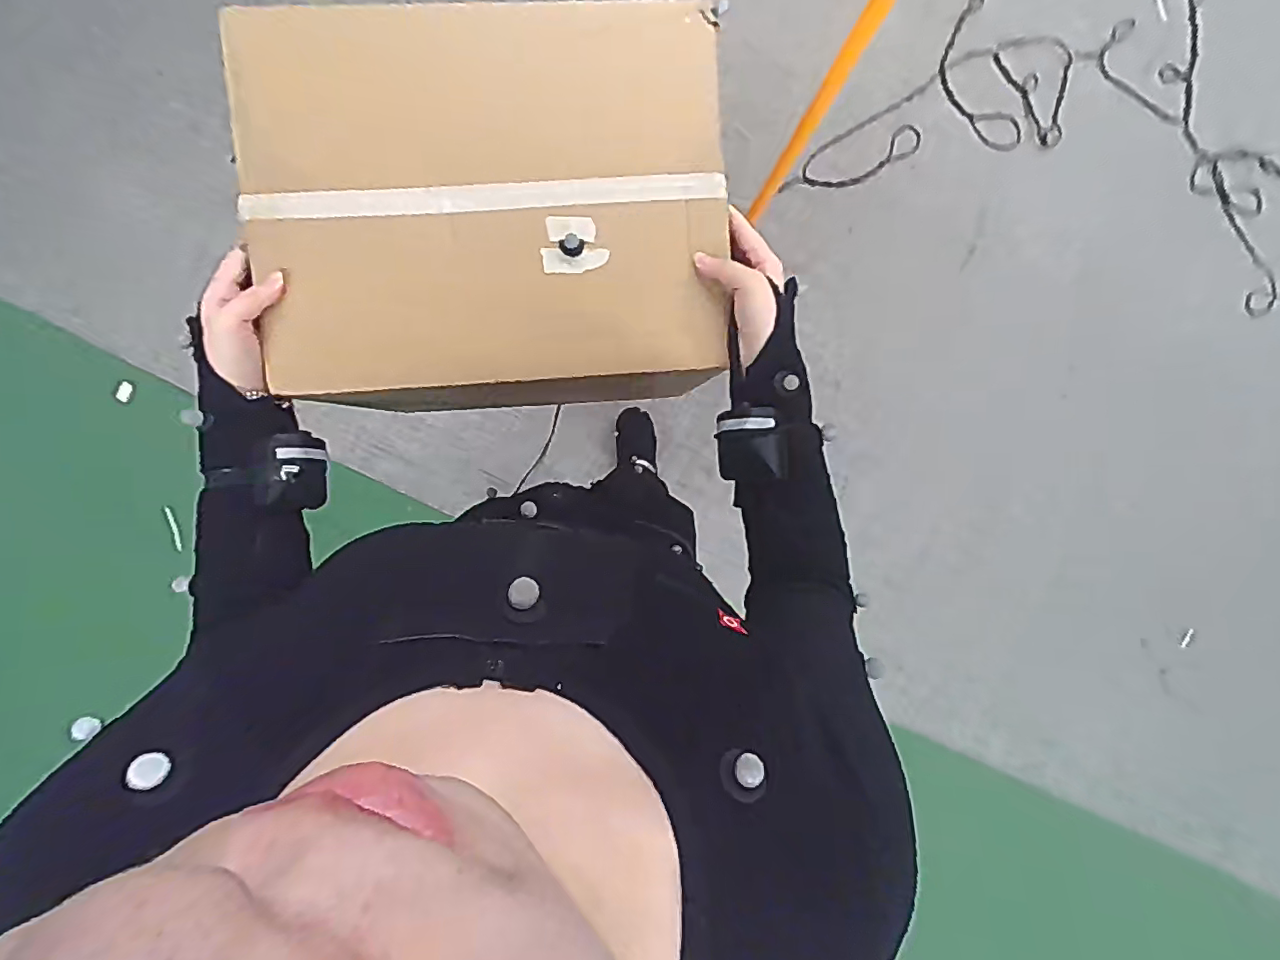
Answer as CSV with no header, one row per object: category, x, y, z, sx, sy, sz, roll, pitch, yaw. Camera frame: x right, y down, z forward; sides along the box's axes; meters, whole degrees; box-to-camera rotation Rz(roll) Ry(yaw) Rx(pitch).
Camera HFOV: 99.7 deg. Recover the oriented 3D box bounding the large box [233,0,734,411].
large box,-0.139,-0.260,0.617,0.408,0.320,0.320,-6,95,-5
